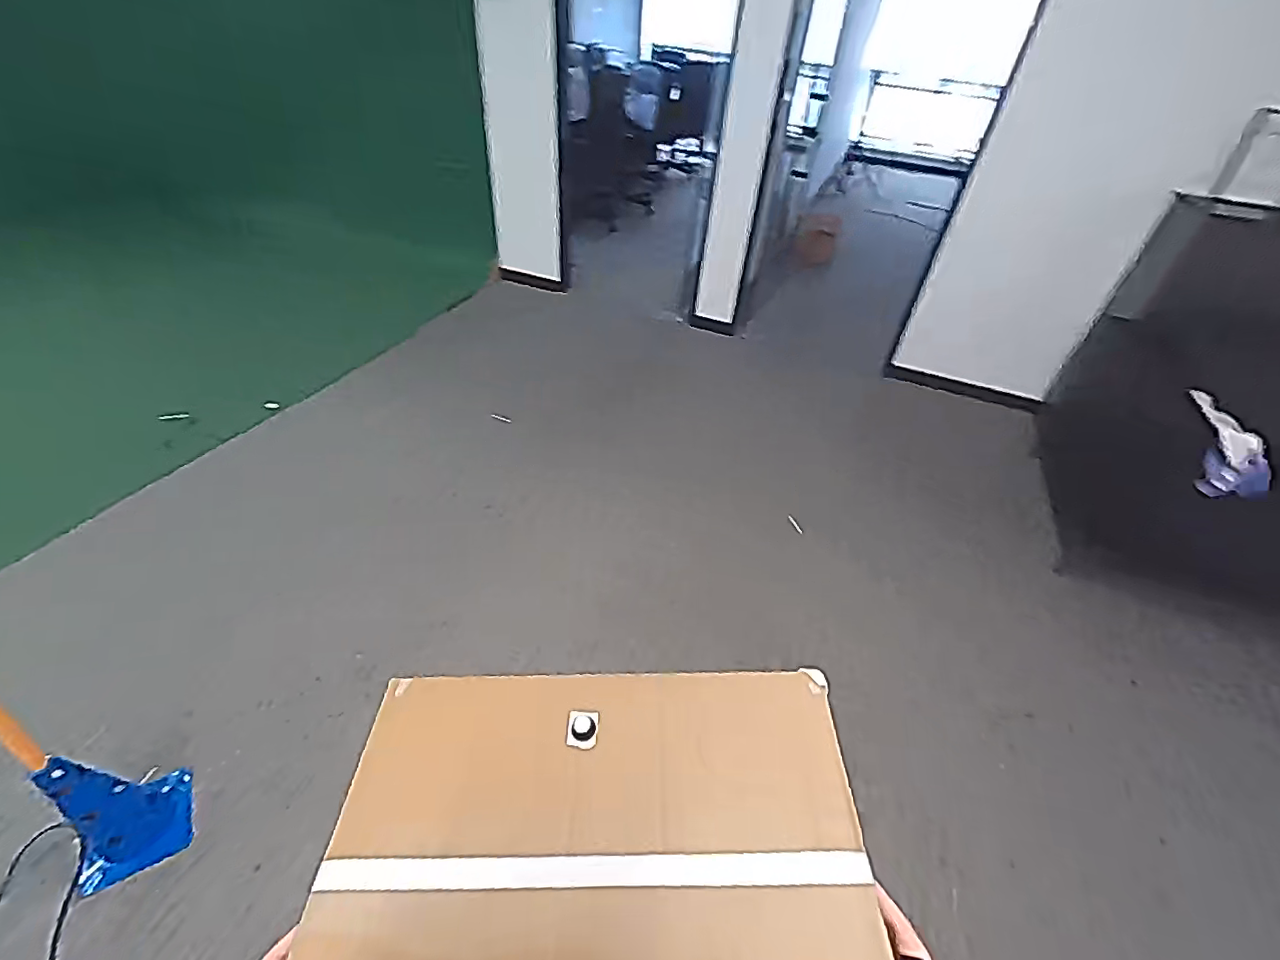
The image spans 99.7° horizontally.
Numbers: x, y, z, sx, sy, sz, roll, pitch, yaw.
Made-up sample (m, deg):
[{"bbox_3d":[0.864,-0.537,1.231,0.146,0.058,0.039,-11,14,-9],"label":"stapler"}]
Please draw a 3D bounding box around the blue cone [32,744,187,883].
[{"bbox_3d":[-1.133,0.651,1.119,0.192,0.380,0.193,-20,46,-28],"label":"blue cone"}]
